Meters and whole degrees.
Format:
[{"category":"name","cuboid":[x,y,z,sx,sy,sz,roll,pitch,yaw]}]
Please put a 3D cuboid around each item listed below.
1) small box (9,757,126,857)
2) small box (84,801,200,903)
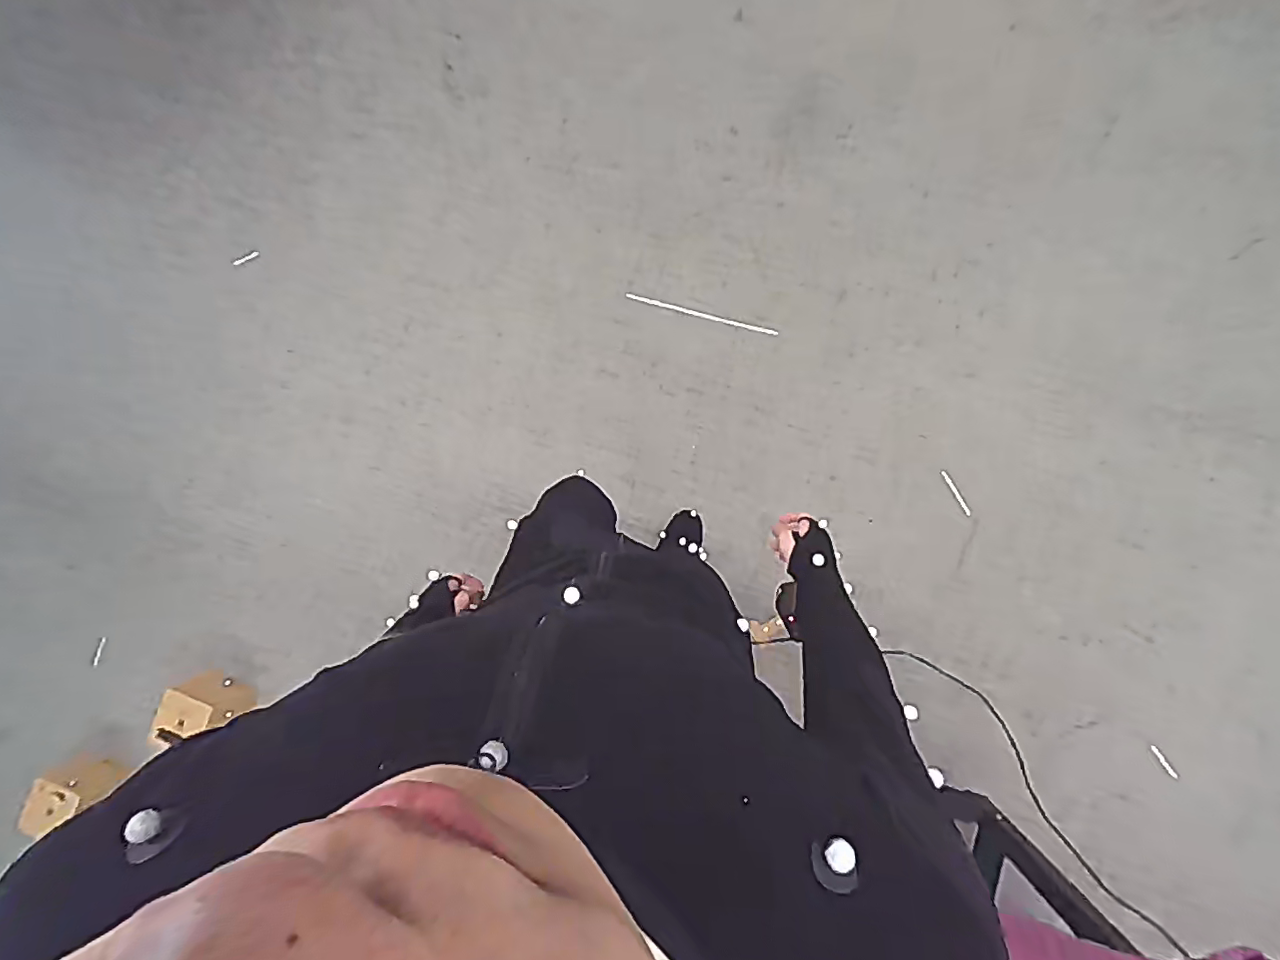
[{"category":"small box","cuboid":[-1.767,1.006,1.678,0.168,0.176,0.179,20,89,7]},{"category":"small box","cuboid":[-1.501,1.117,1.642,0.179,0.176,0.168,19,88,7]}]
